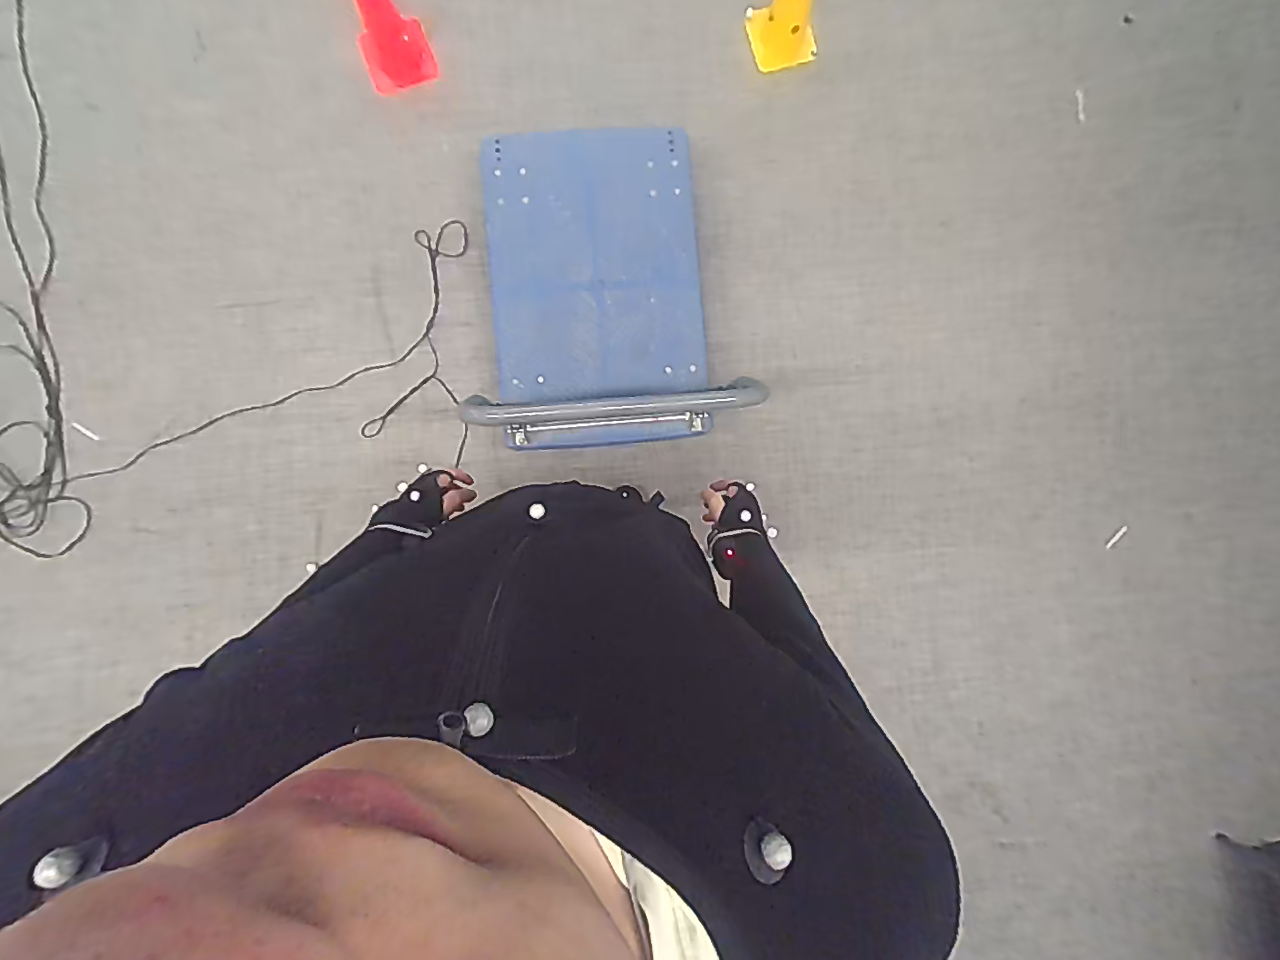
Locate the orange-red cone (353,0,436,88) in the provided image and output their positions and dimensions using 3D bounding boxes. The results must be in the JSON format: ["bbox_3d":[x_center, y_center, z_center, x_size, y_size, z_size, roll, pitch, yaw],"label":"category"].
[{"bbox_3d":[-0.727,-1.298,1.460,0.199,0.360,0.198,-20,89,-2],"label":"orange-red cone"}]
